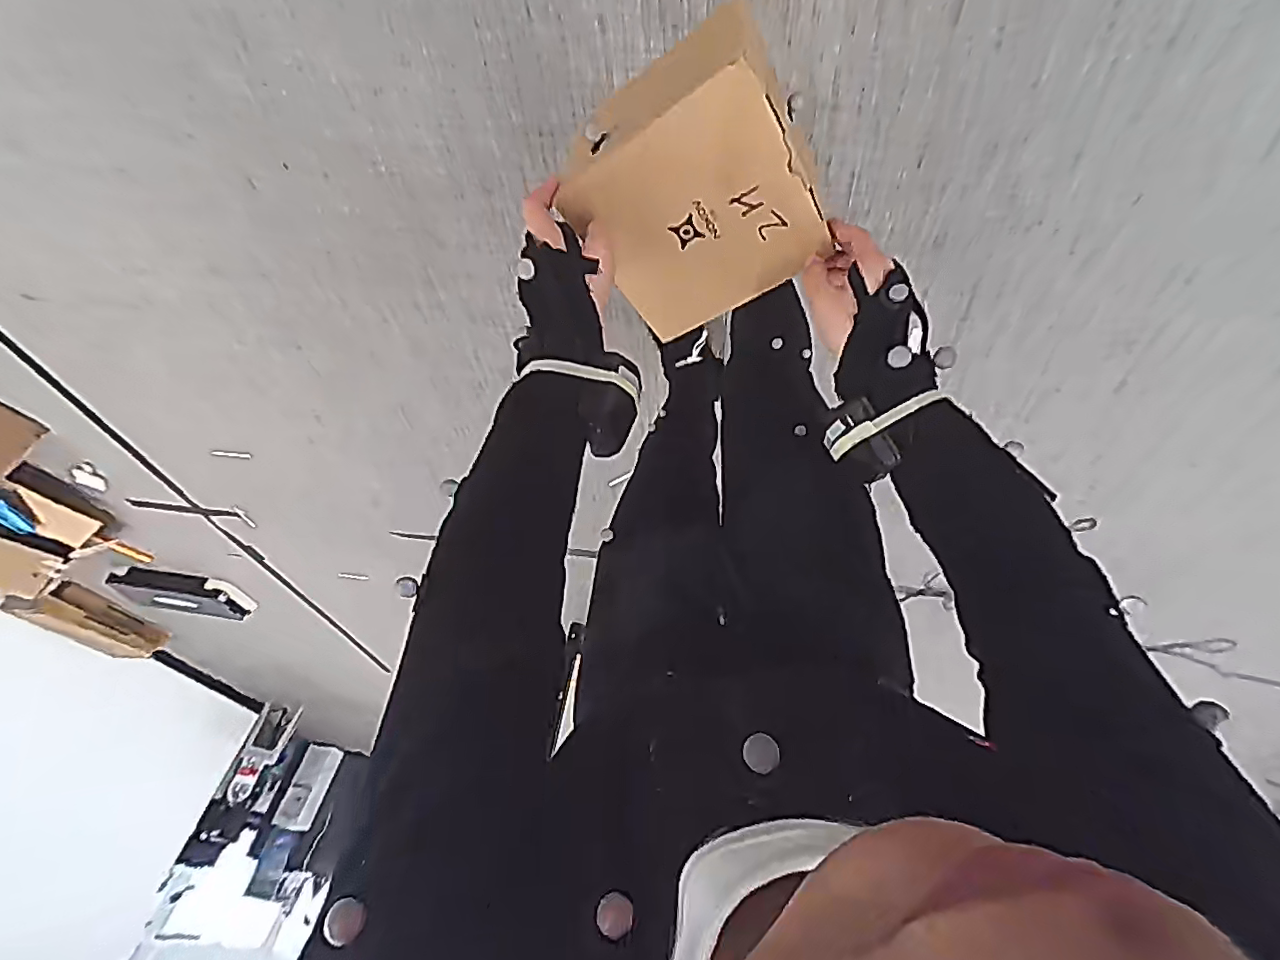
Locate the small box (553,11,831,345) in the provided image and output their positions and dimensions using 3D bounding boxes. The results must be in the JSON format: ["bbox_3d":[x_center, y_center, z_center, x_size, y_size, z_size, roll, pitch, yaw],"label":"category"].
[{"bbox_3d":[0.052,-0.263,0.489,0.179,0.176,0.168,-21,135,30],"label":"small box"}]
